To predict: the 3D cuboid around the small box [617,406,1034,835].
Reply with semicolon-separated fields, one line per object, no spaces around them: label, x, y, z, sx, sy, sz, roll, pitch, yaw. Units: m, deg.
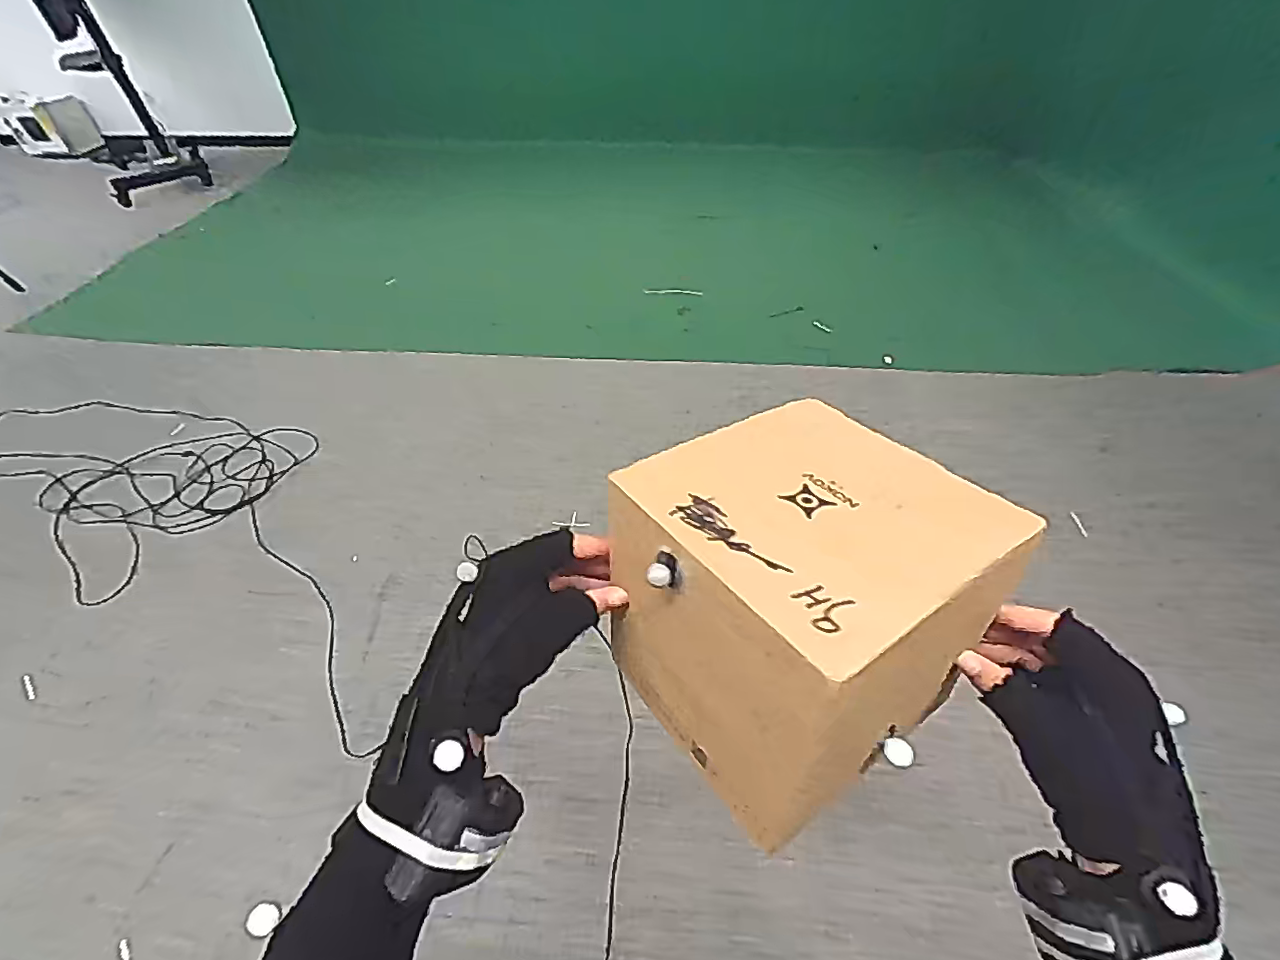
small box;0.097;0.077;0.352;0.179;0.176;0.168;-21;40;-27
